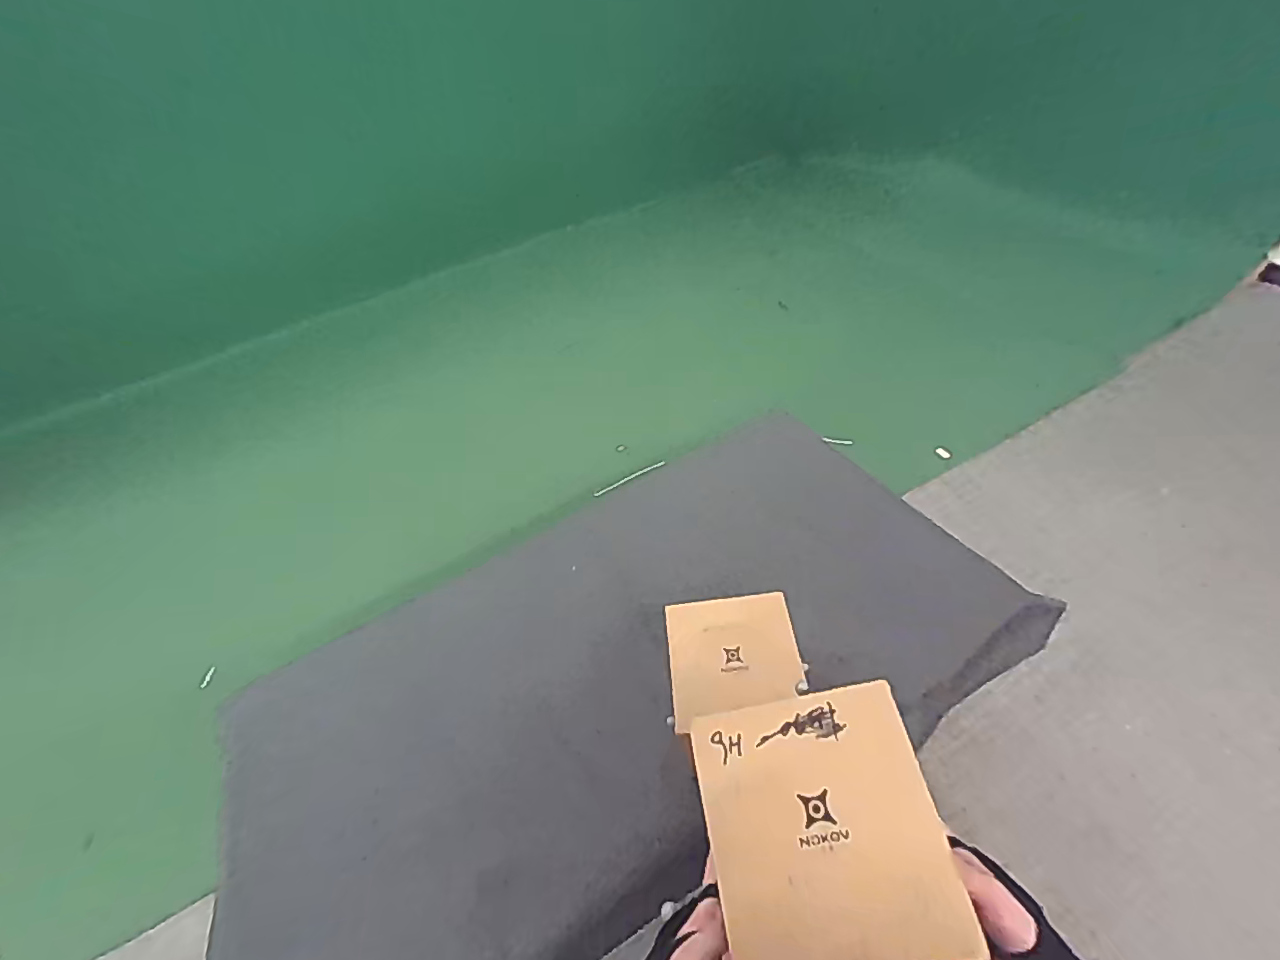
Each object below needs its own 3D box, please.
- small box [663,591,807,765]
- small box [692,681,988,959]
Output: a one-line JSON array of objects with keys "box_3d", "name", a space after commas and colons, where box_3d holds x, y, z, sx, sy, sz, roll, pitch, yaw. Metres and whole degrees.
[{"box_3d": [0.128, 0.280, 0.746, 0.168, 0.176, 0.179, -8, 45, 3], "name": "small box"}, {"box_3d": [0.150, 0.287, 0.462, 0.168, 0.176, 0.179, -13, 58, 5], "name": "small box"}]
